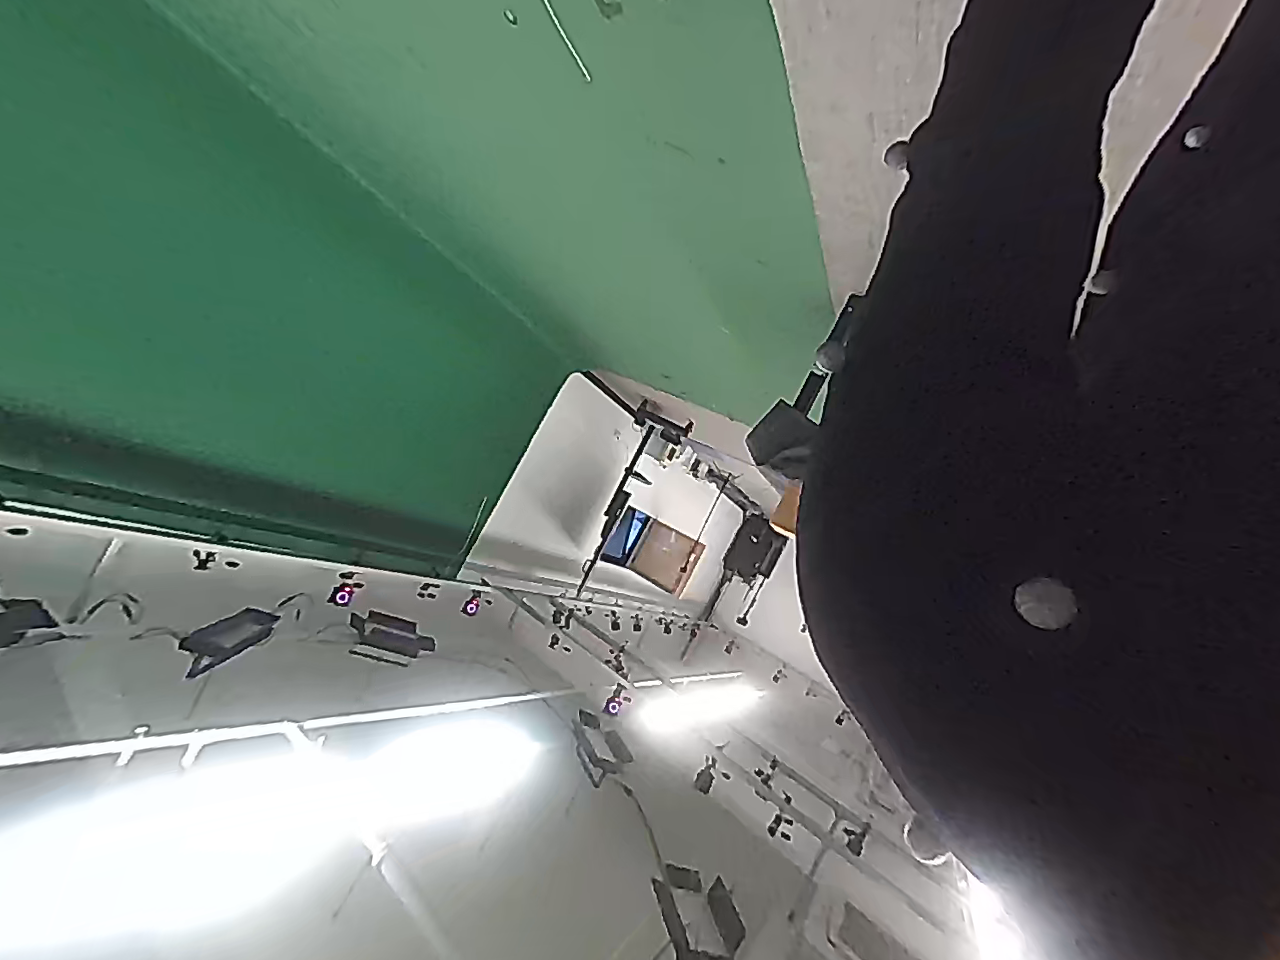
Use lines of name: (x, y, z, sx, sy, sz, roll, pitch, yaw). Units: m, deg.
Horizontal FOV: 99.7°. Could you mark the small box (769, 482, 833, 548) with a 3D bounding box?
small box: (0.599, 0.128, 1.992, 0.168, 0.176, 0.179, 27, 177, 26)
